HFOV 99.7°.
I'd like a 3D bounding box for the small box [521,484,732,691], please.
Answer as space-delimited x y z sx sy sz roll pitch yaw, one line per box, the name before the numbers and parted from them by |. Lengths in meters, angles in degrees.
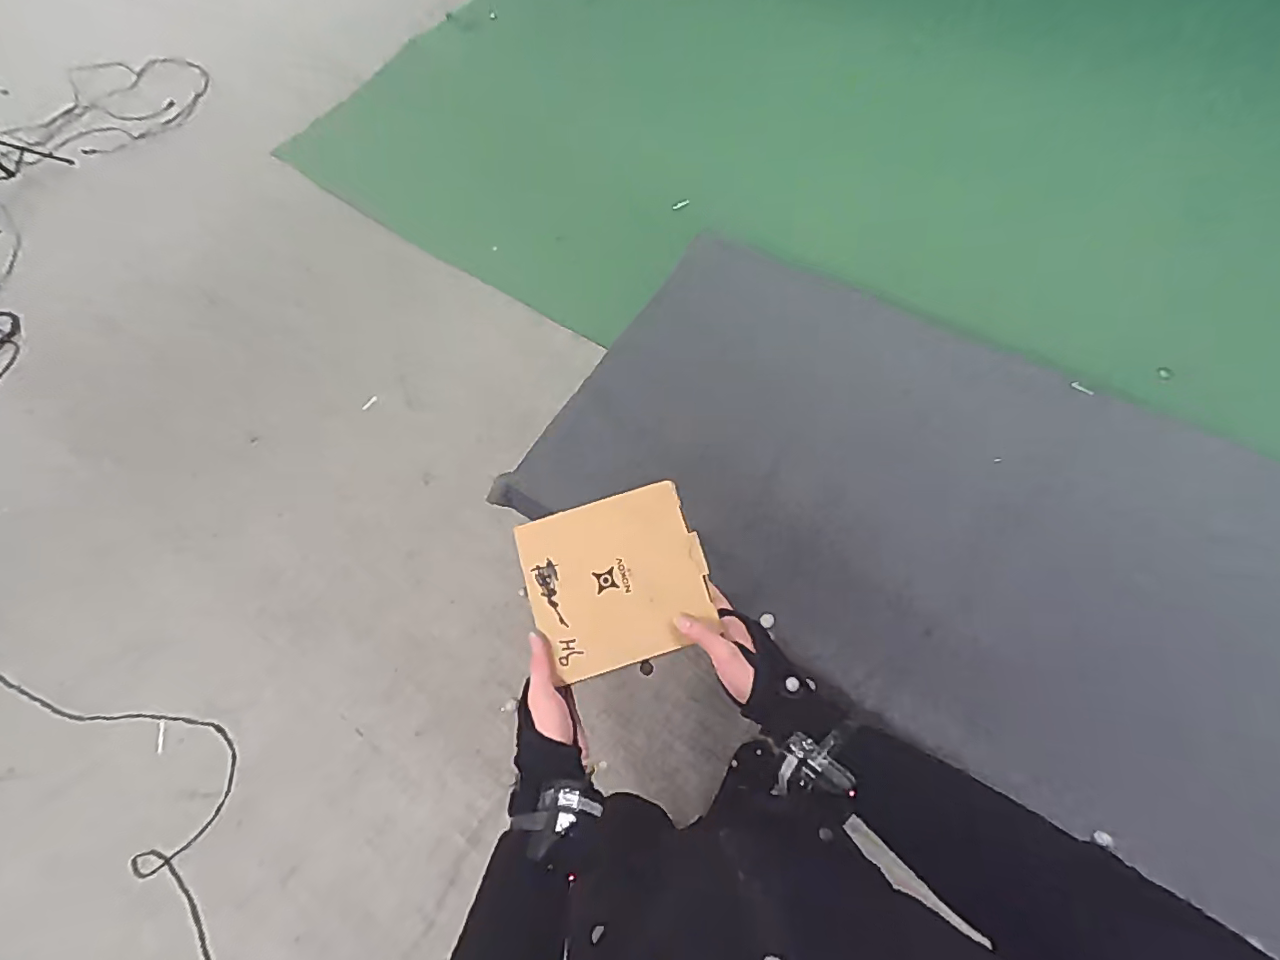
small box | -0.017 0.124 0.598 0.179 0.176 0.168 -15 70 -5
